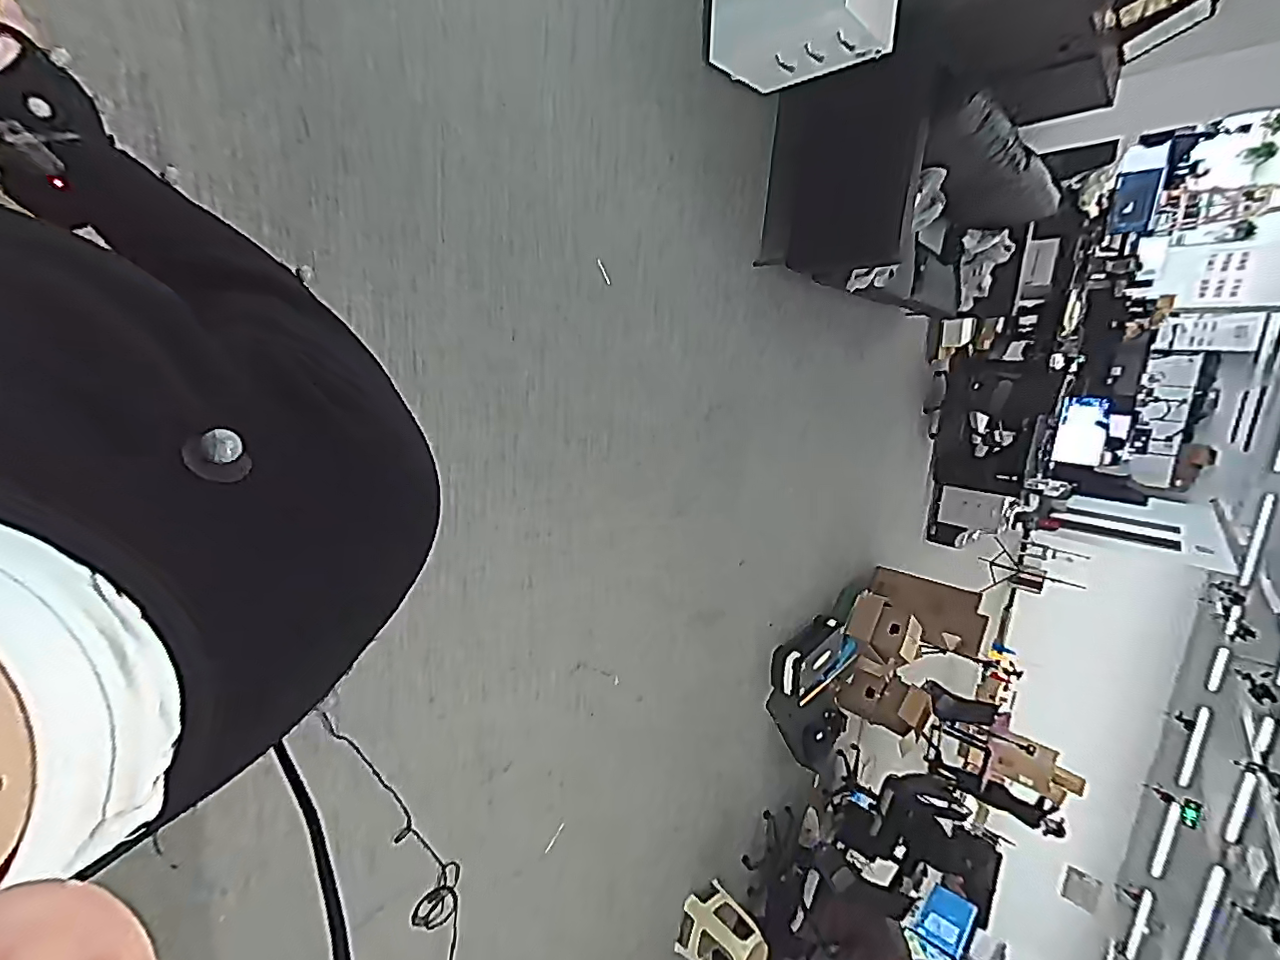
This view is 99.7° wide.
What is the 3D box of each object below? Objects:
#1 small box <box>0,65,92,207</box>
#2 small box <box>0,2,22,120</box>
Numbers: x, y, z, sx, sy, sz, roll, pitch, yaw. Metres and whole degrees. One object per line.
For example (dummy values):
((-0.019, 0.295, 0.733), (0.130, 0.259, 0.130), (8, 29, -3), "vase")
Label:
((-1.069, -0.598, 0.935), (0.168, 0.176, 0.179), (-2, 104, -45), "small box")
((-0.660, -0.422, 0.447), (0.179, 0.176, 0.168), (-12, 113, -41), "small box")
